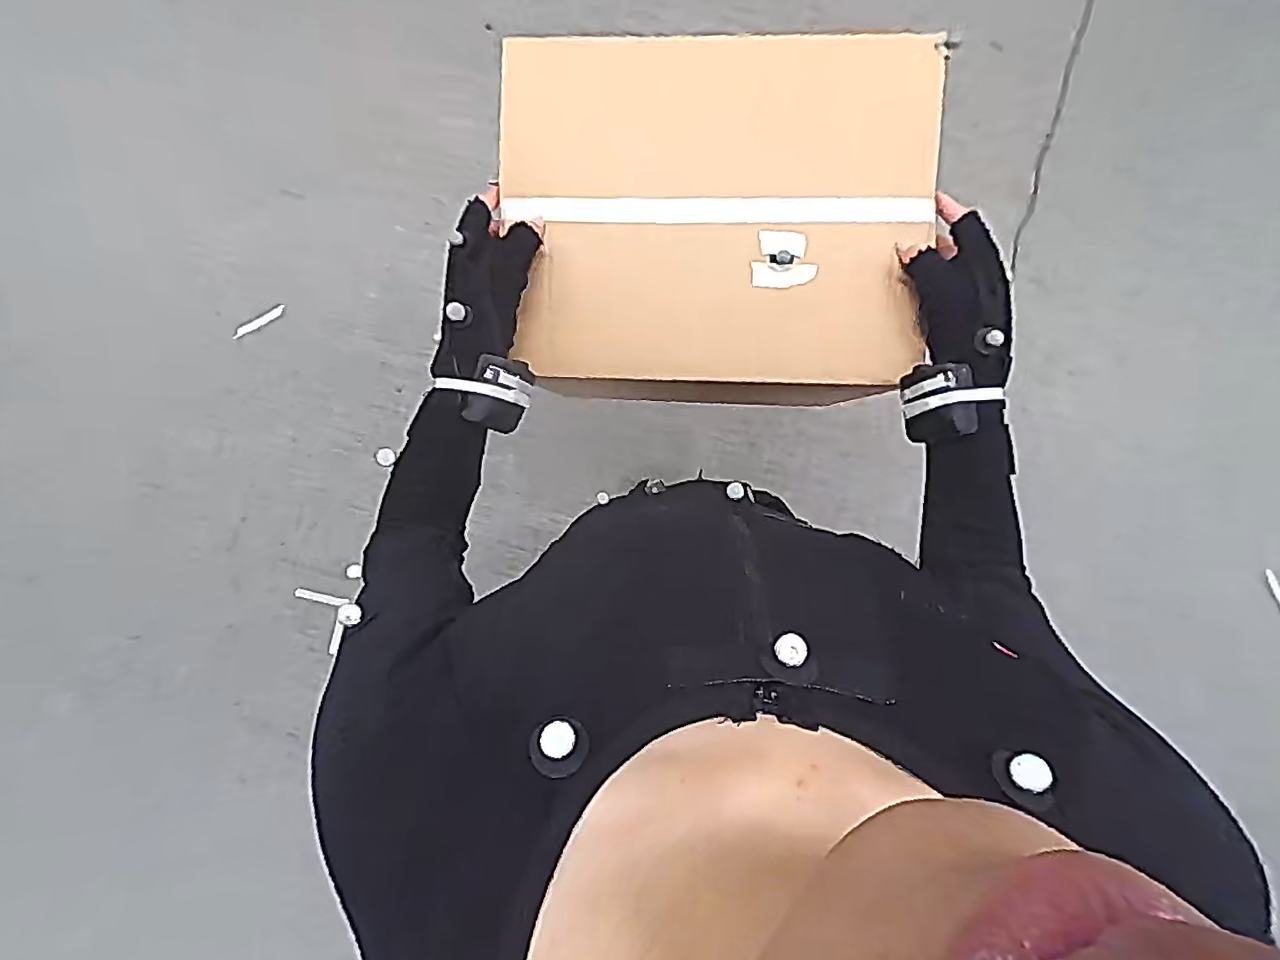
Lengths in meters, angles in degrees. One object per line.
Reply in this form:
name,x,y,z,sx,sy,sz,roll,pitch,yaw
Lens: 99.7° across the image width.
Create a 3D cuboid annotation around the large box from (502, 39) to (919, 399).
large box,0.070,-0.270,0.672,0.408,0.320,0.320,1,95,3
